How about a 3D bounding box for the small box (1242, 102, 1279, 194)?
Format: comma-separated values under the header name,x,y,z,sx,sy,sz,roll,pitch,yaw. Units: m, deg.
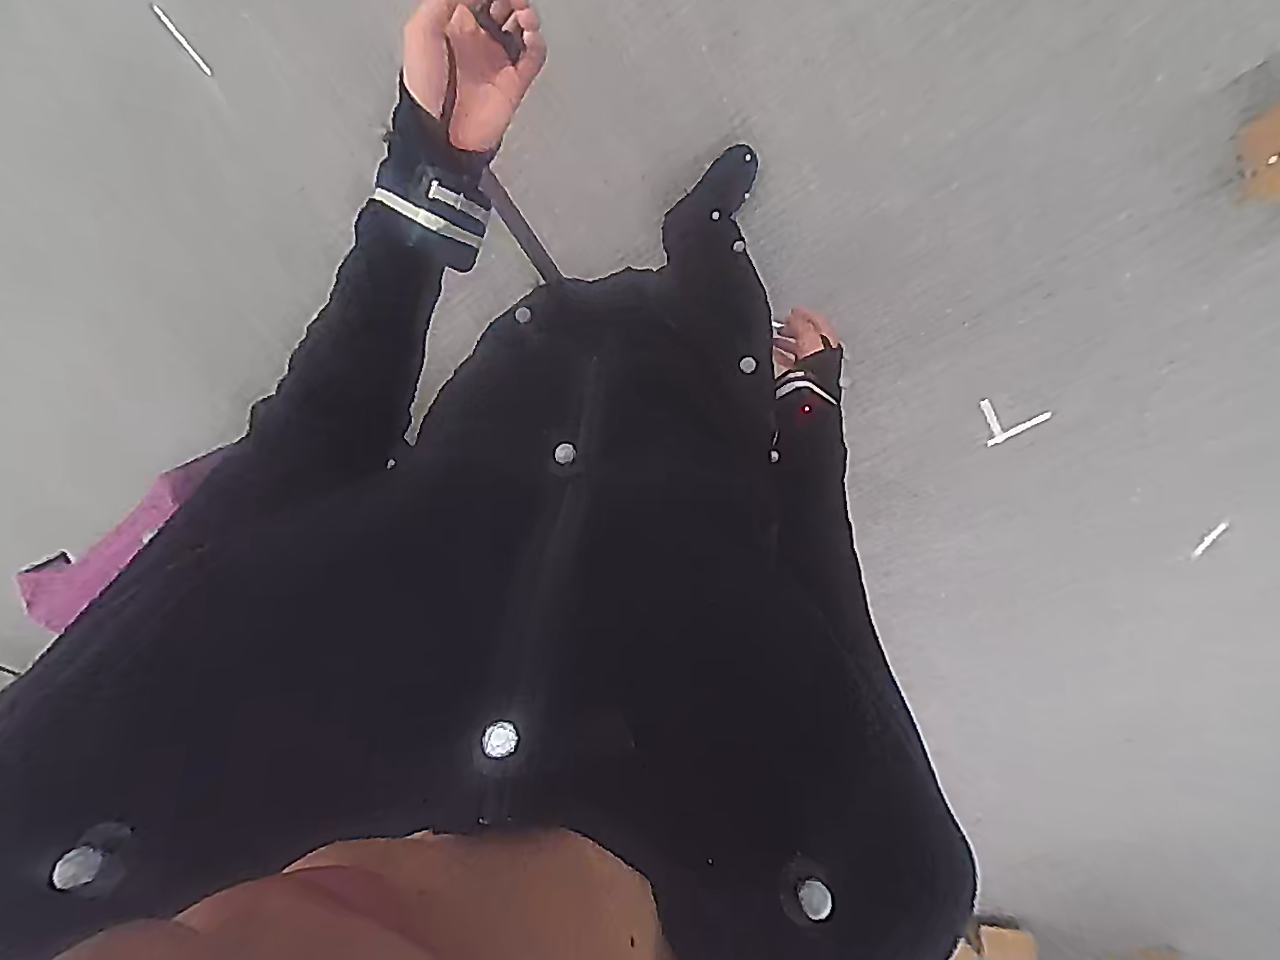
name,x,y,z,sx,sy,sz,roll,pitch,yaw
small box,1.420,-0.717,1.122,0.179,0.176,0.168,-30,113,20
